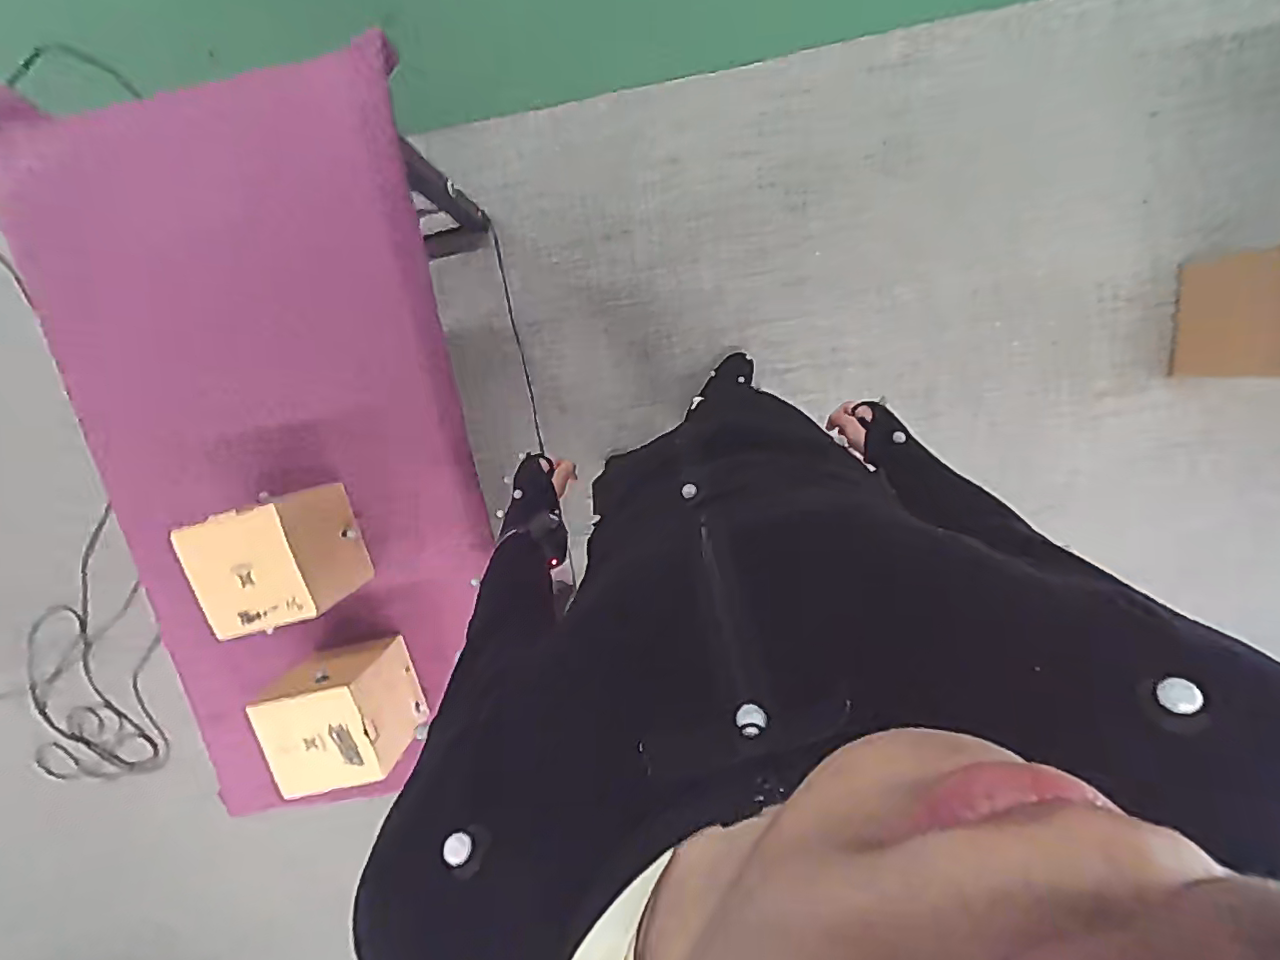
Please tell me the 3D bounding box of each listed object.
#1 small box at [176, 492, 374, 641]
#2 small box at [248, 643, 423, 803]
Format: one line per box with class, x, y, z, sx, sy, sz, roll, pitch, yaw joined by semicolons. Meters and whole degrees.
small box;-0.560;0.124;0.856;0.168;0.176;0.179;-14;99;5
small box;-0.488;0.394;0.902;0.179;0.176;0.168;-14;99;6
